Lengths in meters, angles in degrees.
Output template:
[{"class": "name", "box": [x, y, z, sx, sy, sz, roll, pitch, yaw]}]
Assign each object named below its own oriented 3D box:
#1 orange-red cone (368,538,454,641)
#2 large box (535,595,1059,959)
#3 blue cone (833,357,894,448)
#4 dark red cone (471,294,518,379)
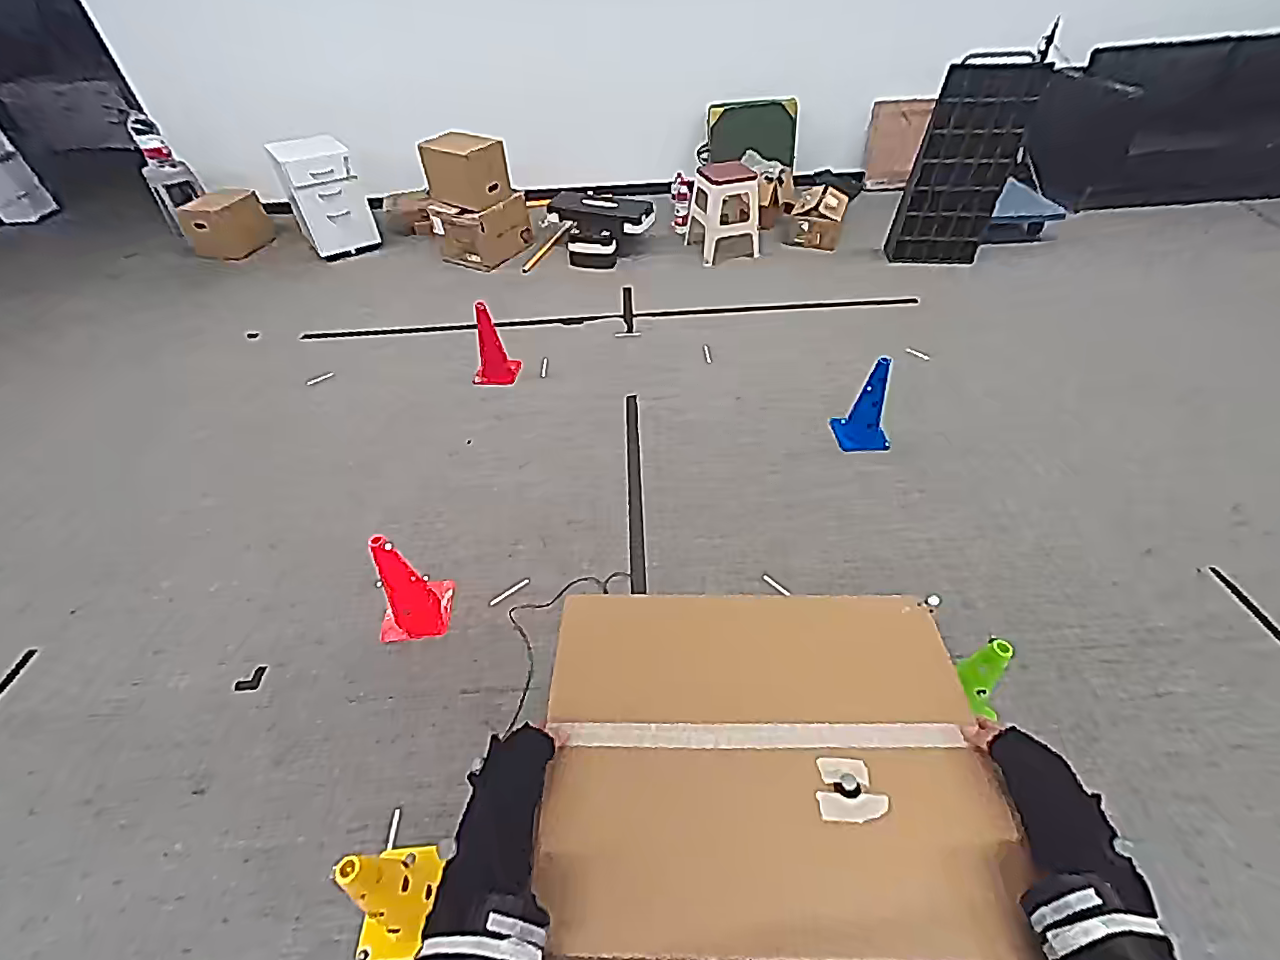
[{"class": "orange-red cone", "box": [-0.699, 0.290, 1.570, 0.198, 0.360, 0.199, -6, 47, -2]}, {"class": "large box", "box": [0.119, 0.347, 0.613, 0.408, 0.320, 0.320, 0, 44, 2]}, {"class": "blue cone", "box": [0.900, -0.310, 2.104, 0.192, 0.380, 0.193, 0, 46, 1]}, {"class": "dark red cone", "box": [-0.694, -0.654, 2.465, 0.201, 0.394, 0.202, 1, 46, 3]}]
